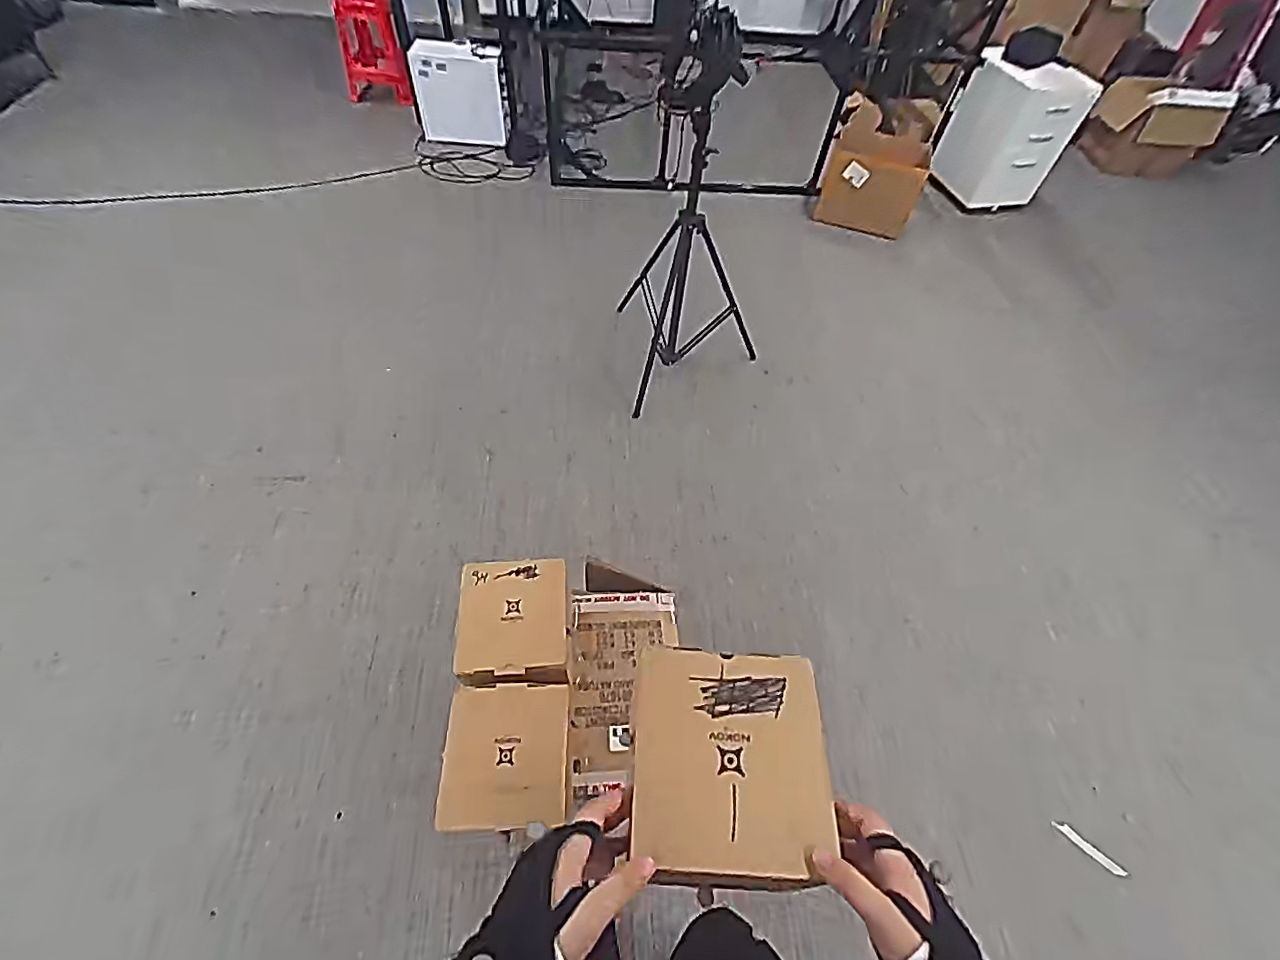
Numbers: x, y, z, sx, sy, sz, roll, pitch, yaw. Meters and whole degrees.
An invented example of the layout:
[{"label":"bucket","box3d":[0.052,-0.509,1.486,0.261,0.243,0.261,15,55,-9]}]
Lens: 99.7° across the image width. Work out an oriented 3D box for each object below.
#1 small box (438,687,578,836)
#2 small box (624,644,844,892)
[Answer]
[{"label":"small box","box3d":[-0.180,0.415,0.793,0.168,0.176,0.179,-1,58,-3]},{"label":"small box","box3d":[0.074,0.280,0.523,0.168,0.176,0.179,5,51,-1]}]
